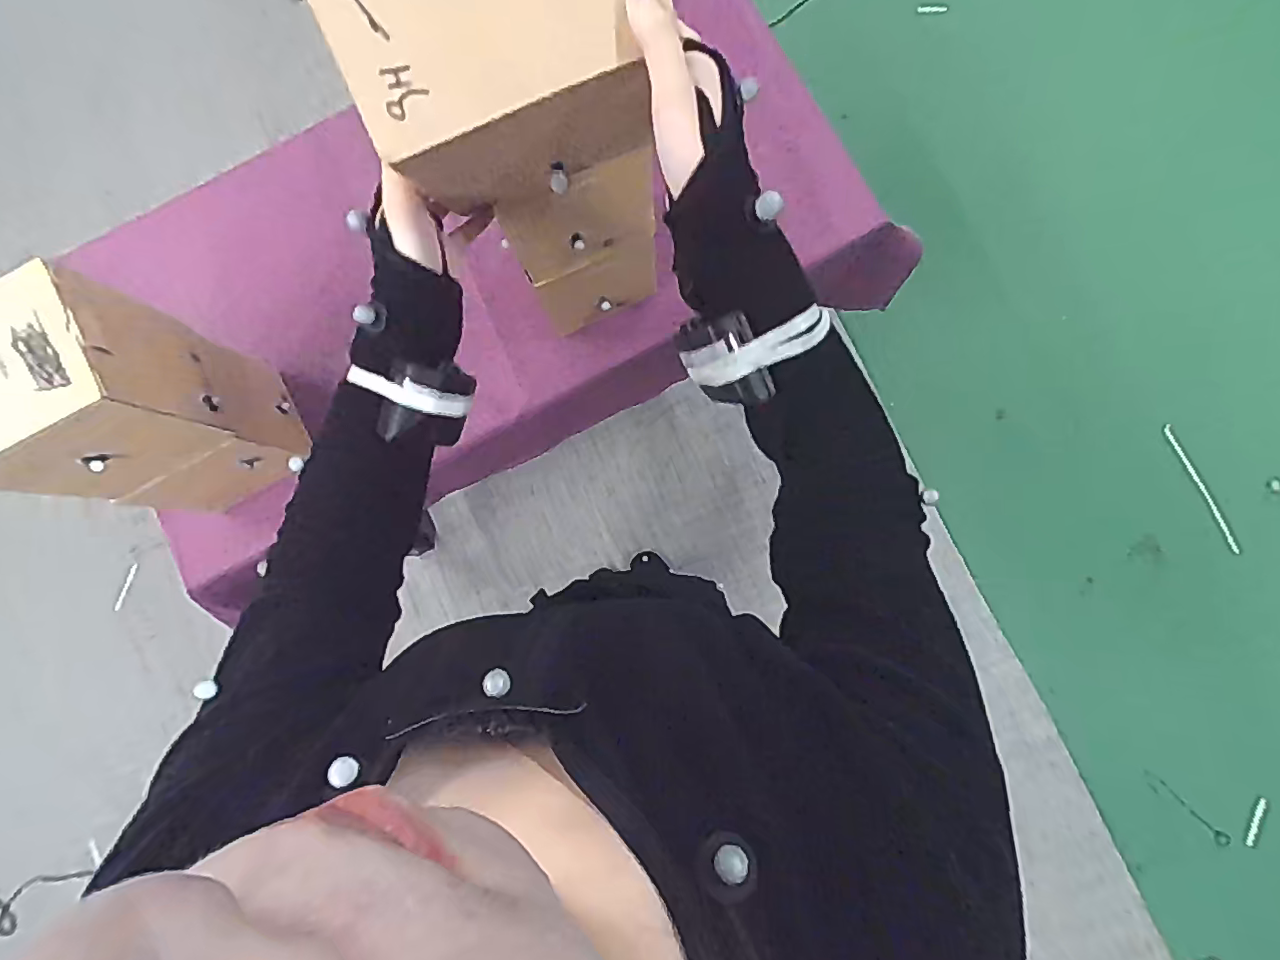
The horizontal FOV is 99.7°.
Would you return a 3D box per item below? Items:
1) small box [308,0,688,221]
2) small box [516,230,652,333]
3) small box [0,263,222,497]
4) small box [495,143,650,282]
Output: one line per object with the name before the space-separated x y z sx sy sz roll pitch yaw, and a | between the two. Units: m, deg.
small box | -0.087 -0.285 0.340 0.179 0.176 0.168 -20 107 2
small box | -0.092 -0.338 0.758 0.168 0.176 0.179 -25 84 1
small box | -0.611 -0.094 0.593 0.179 0.176 0.168 -29 83 -1
small box | -0.097 -0.357 0.596 0.168 0.176 0.179 -25 84 0
